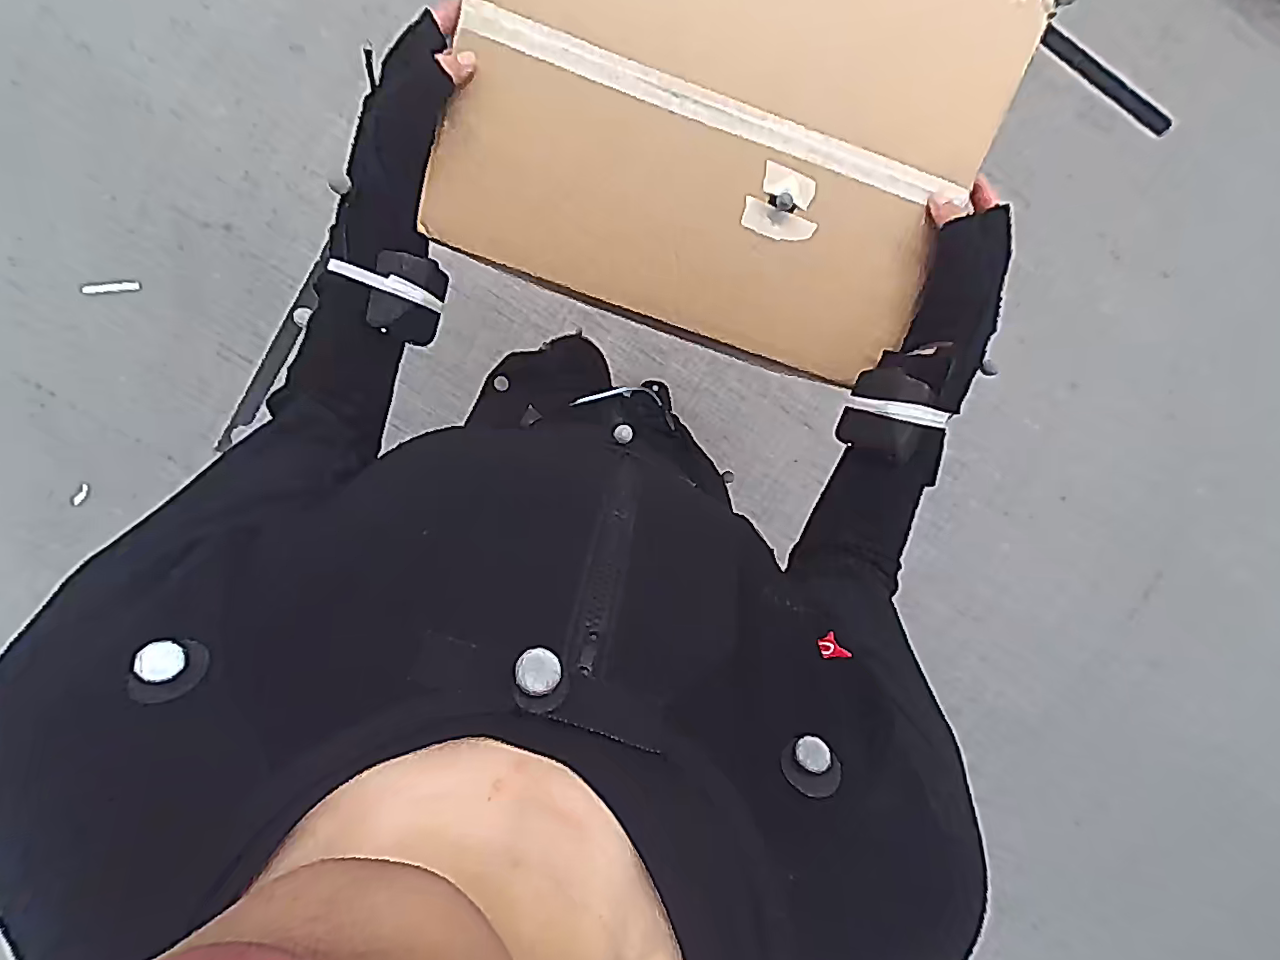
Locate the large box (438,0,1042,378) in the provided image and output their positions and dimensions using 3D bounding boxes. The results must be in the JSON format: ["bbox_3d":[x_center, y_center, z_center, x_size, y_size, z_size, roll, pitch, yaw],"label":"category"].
[{"bbox_3d":[0.065,-0.324,0.563,0.408,0.320,0.320,18,105,-5],"label":"large box"}]
